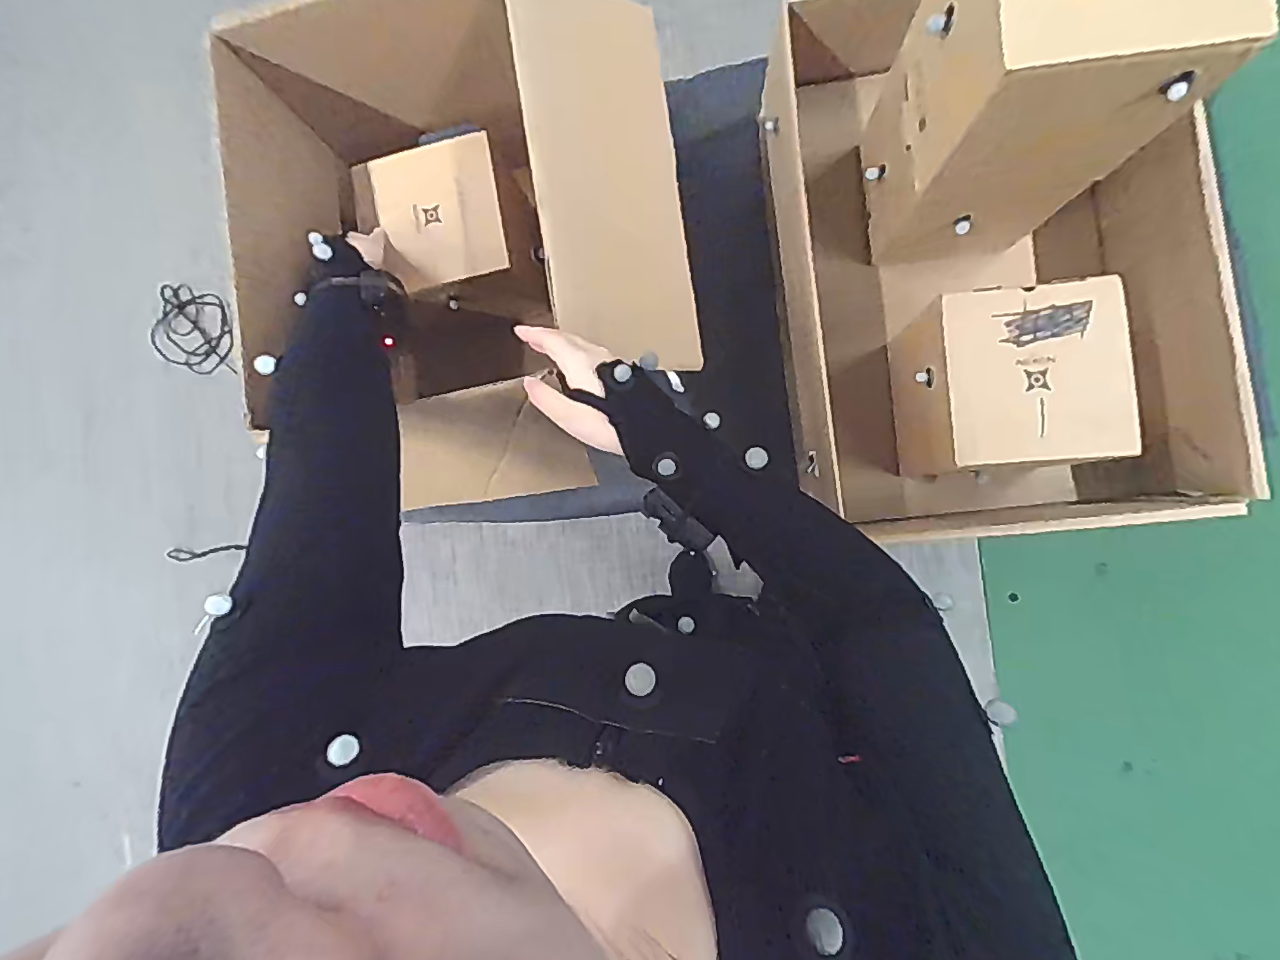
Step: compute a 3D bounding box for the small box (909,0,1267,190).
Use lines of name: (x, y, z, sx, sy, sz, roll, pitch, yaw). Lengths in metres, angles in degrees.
small box: (0.345, -0.372, 0.458, 0.179, 0.176, 0.168, -3, 89, 6)
